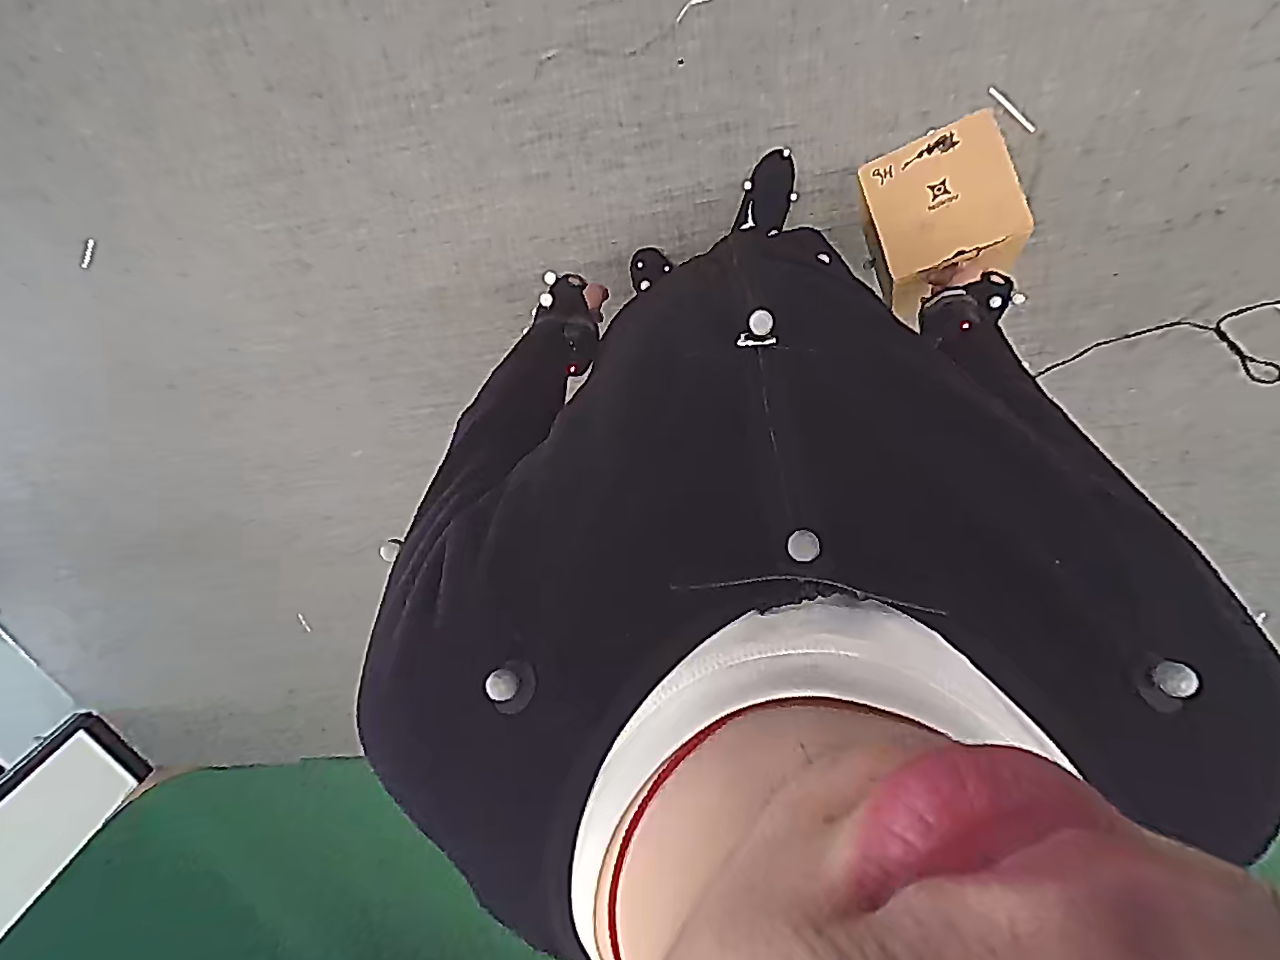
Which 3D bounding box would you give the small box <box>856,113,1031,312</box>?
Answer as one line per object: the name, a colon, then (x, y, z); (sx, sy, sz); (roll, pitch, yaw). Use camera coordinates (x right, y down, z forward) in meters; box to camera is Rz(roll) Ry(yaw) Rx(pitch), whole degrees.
small box: (0.430, -0.363, 0.782); (0.168, 0.176, 0.179); (-20, 79, 25)
